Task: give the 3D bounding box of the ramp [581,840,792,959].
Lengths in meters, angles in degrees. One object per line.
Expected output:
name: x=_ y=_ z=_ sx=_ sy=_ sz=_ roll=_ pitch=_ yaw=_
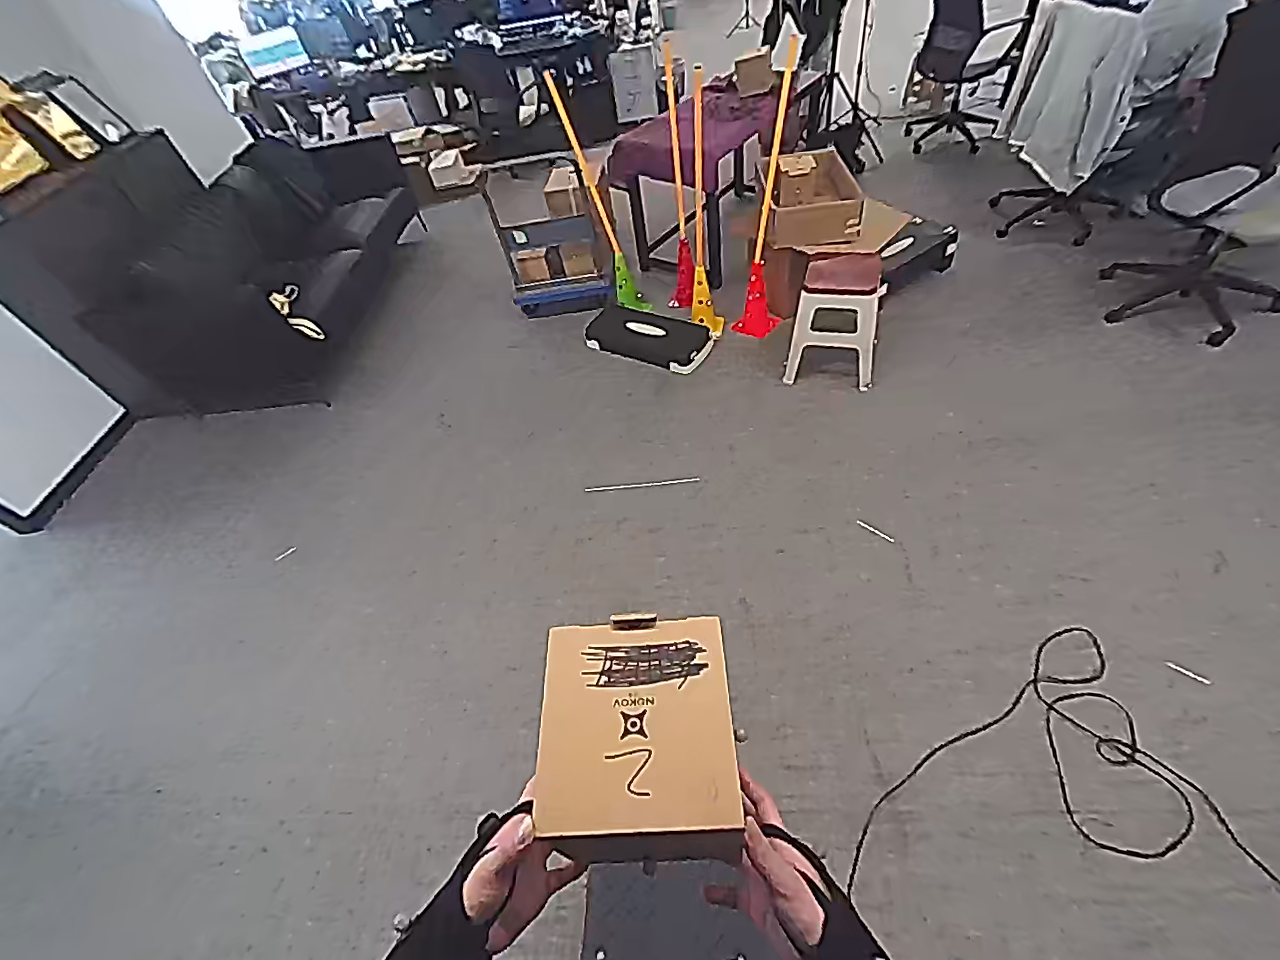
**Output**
ramp: x=0.090 y=1.265 z=1.037 sx=0.509 sy=0.206 sz=0.991 roll=-7 pitch=48 yaw=7
